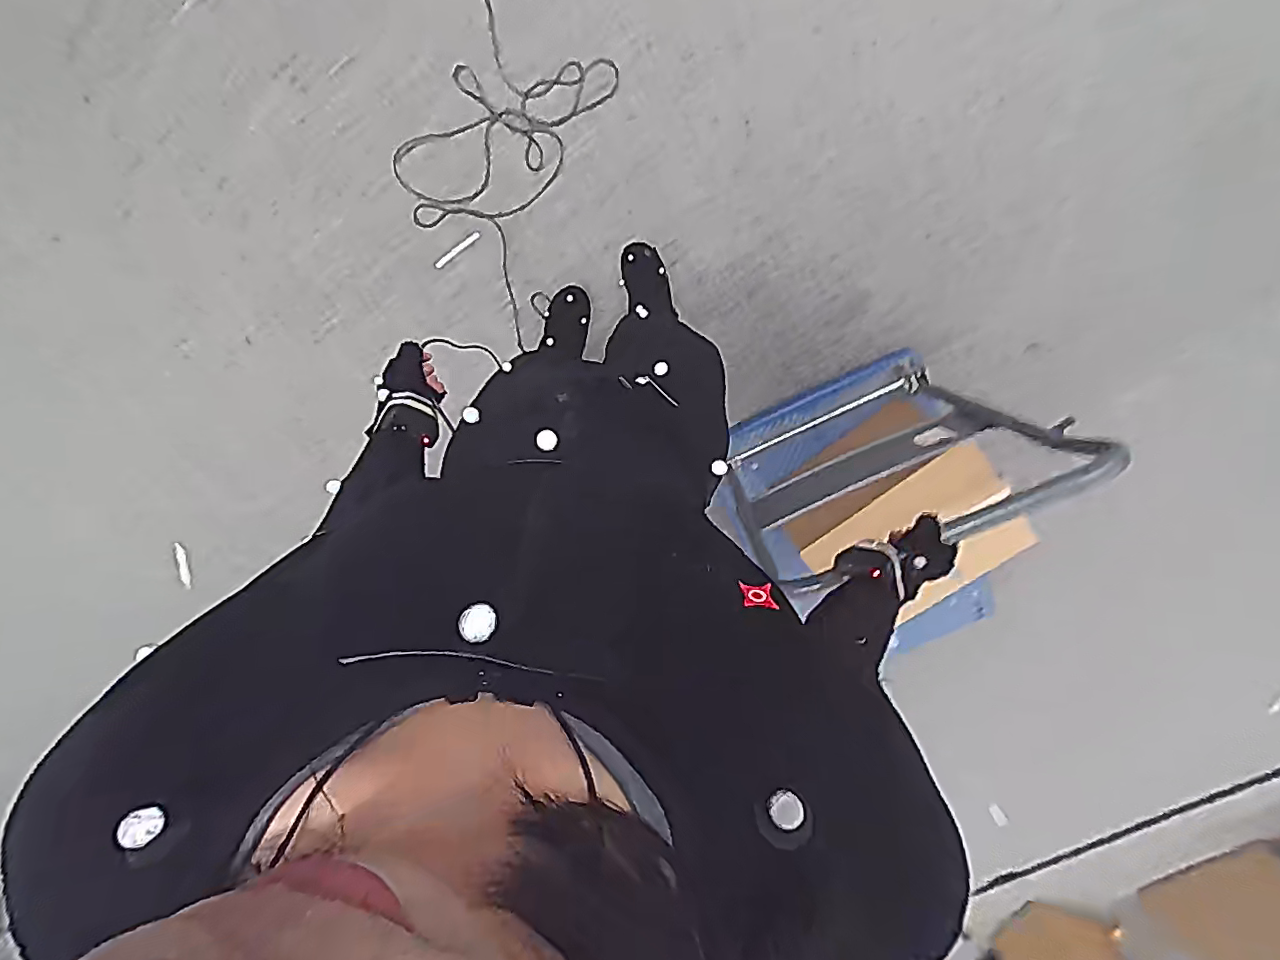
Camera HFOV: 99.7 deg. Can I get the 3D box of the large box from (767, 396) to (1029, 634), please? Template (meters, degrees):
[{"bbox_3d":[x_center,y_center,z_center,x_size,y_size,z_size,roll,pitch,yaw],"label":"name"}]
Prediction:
[{"bbox_3d":[0.578,0.071,1.282,0.408,0.320,0.320,-39,108,15],"label":"large box"}]
